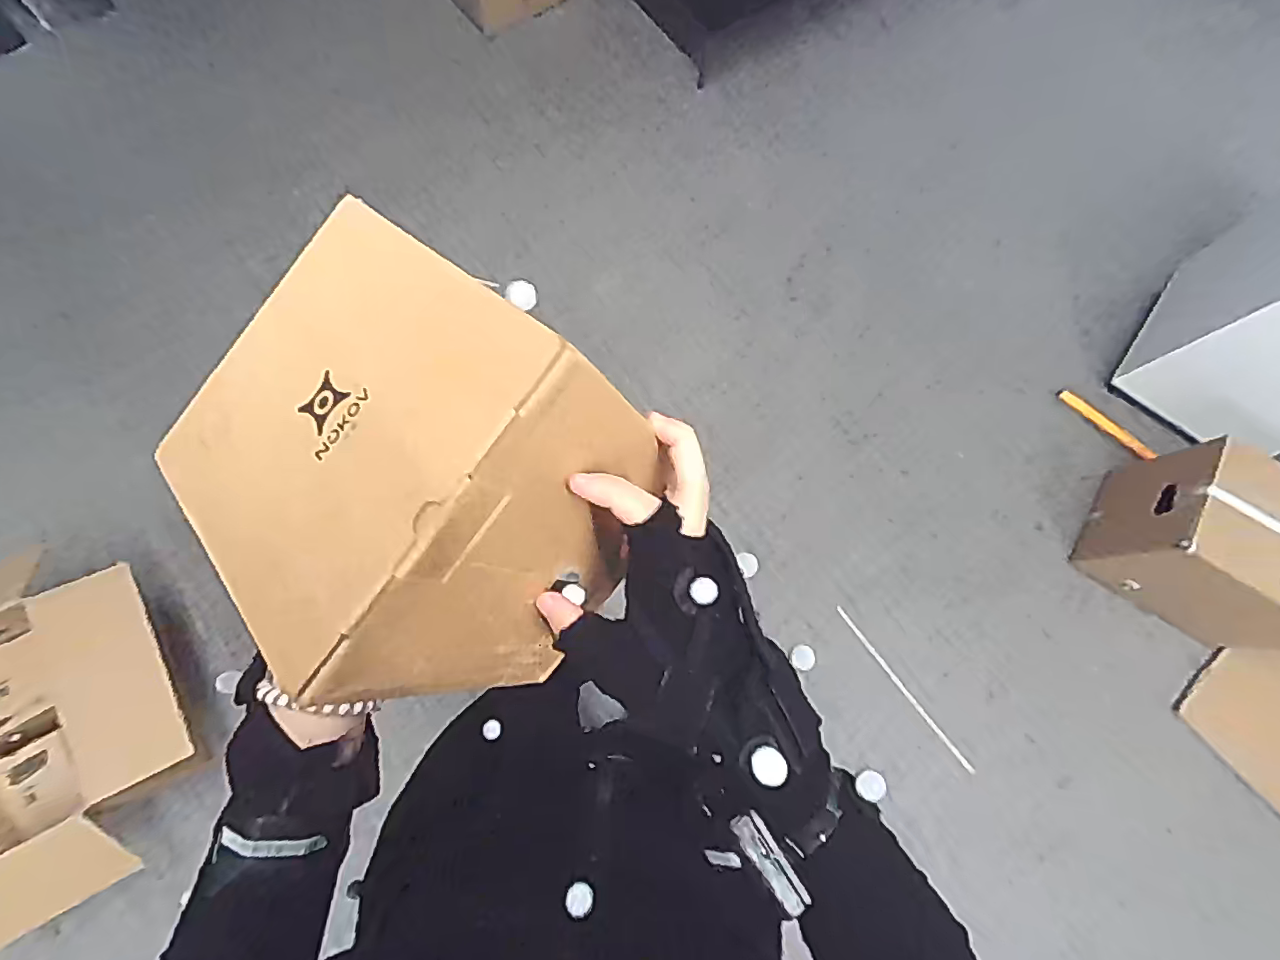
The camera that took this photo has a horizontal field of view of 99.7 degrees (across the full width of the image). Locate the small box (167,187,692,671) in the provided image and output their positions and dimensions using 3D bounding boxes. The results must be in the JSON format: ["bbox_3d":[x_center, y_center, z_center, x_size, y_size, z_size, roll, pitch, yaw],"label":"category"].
[{"bbox_3d":[-0.099,-0.015,0.305,0.179,0.176,0.168,39,91,26],"label":"small box"}]
